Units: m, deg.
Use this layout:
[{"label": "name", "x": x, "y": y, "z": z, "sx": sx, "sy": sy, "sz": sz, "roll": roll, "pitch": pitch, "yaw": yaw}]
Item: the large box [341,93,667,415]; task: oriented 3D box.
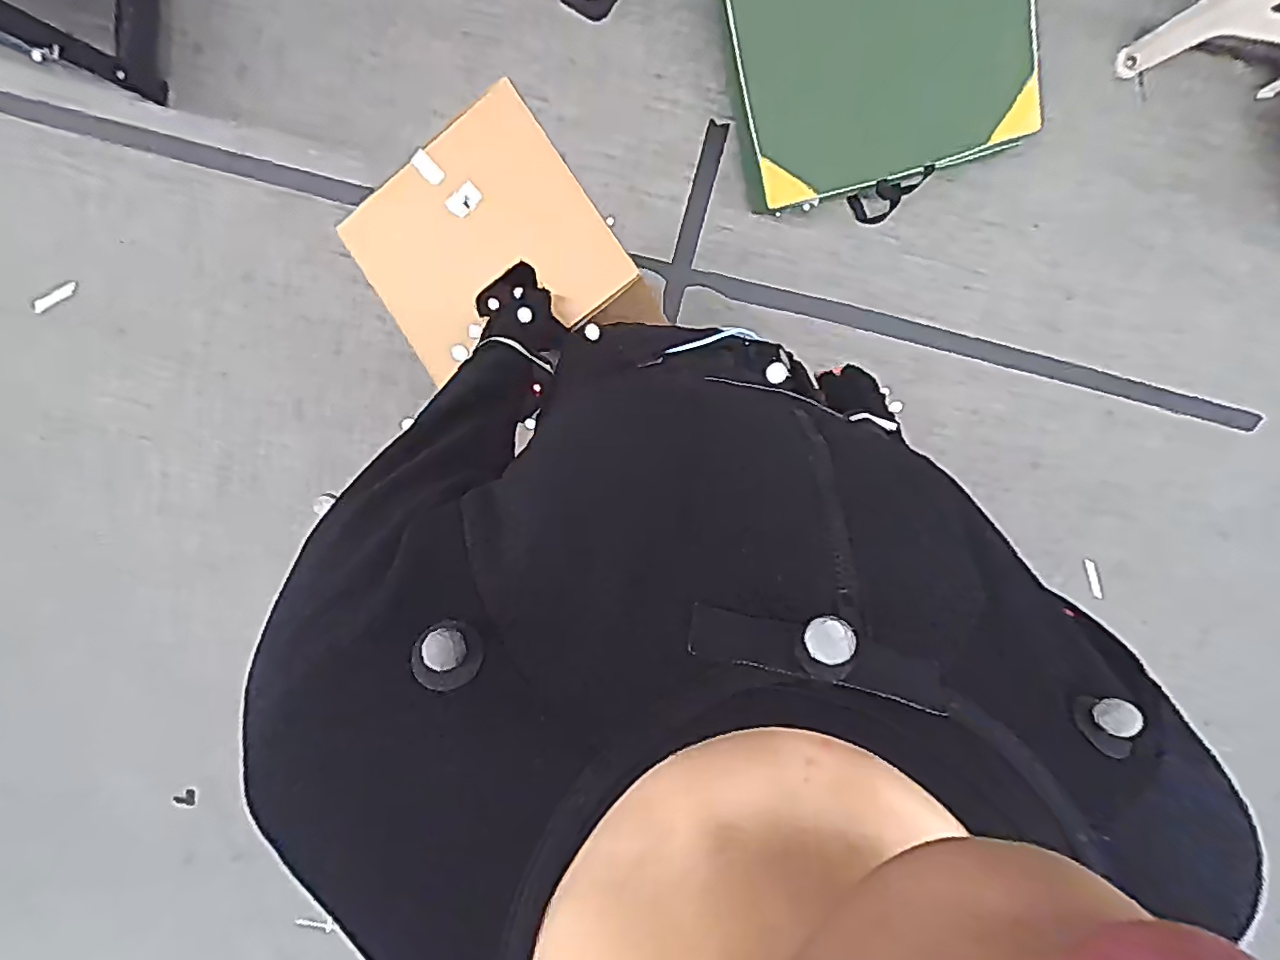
[{"label": "large box", "x": -0.188, "y": -0.324, "z": 0.916, "sx": 0.320, "sy": 0.408, "sz": 0.320, "roll": -33, "pitch": 89, "yaw": 11}]
